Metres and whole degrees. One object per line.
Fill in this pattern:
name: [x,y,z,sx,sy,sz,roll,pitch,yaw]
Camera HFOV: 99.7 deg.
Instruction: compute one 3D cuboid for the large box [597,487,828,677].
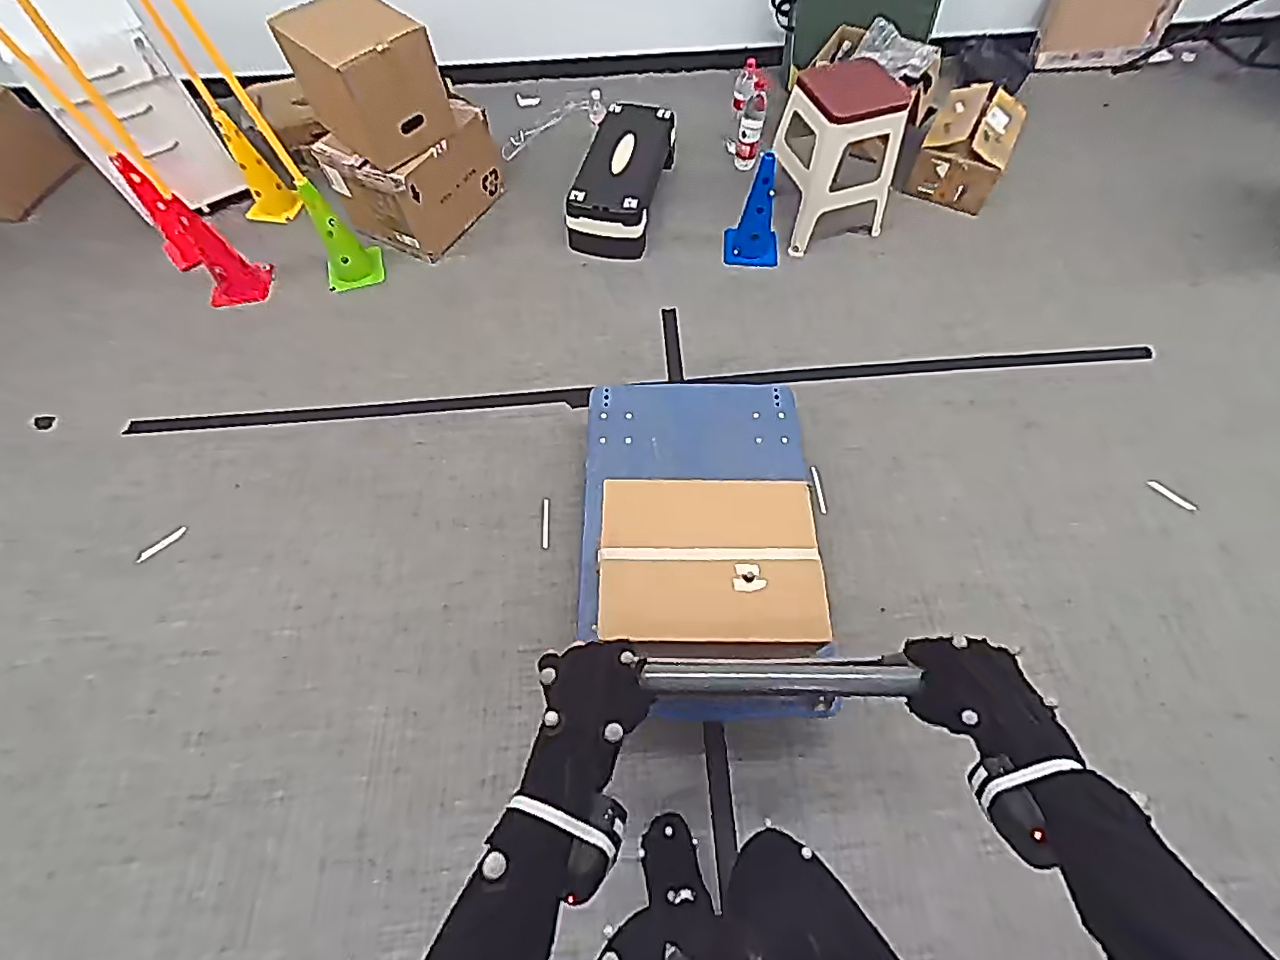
large box: [0.120,0.220,1.117,0.408,0.320,0.320,0,62,-1]
